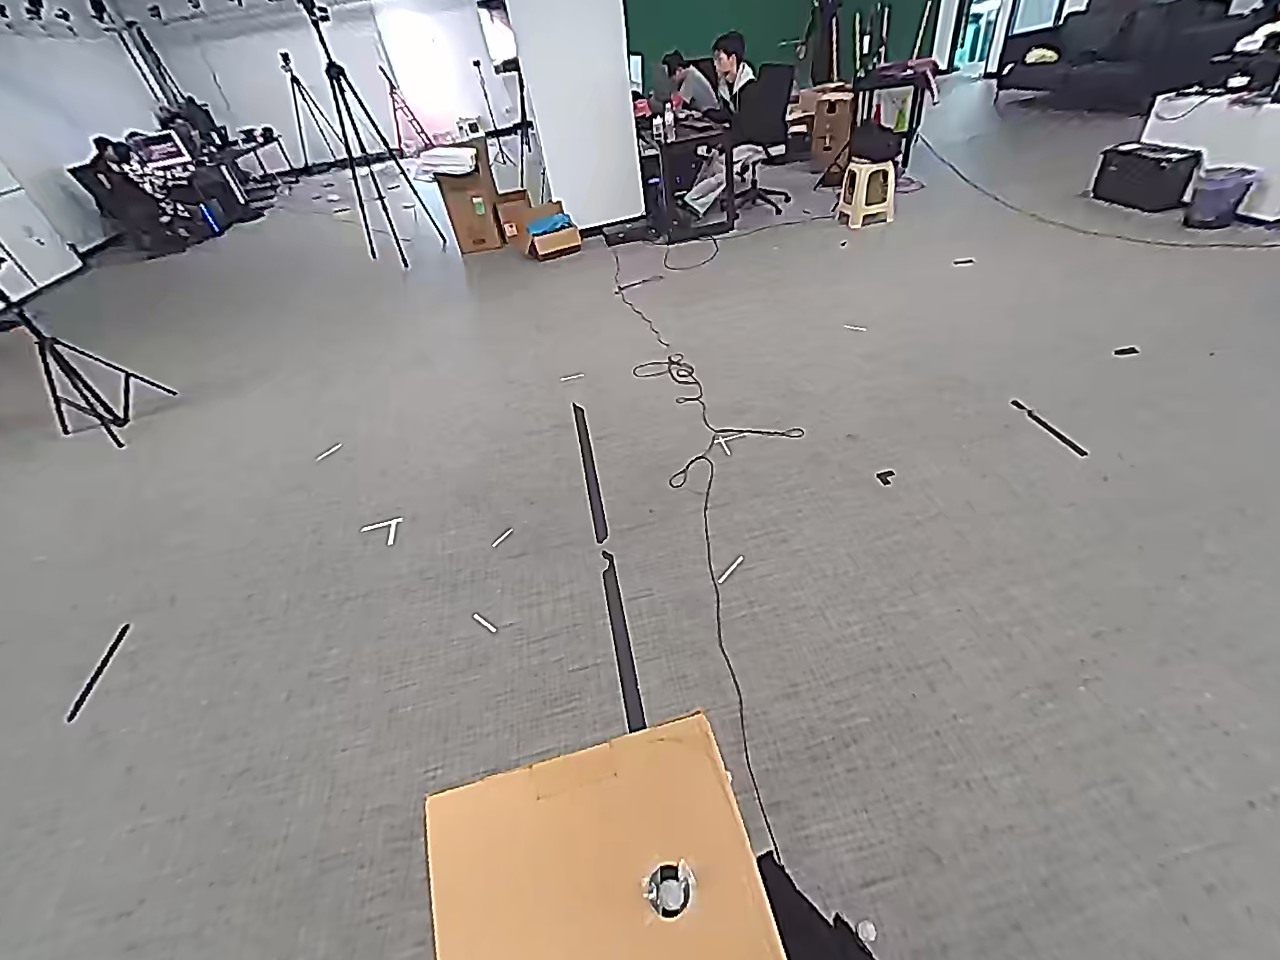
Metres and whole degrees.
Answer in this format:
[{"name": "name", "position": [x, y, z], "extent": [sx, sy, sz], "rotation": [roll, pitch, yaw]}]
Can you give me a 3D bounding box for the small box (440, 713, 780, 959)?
[{"name": "small box", "position": [-0.015, 0.273, 0.357], "extent": [0.168, 0.179, 0.176], "rotation": [-13, 62, -7]}]
